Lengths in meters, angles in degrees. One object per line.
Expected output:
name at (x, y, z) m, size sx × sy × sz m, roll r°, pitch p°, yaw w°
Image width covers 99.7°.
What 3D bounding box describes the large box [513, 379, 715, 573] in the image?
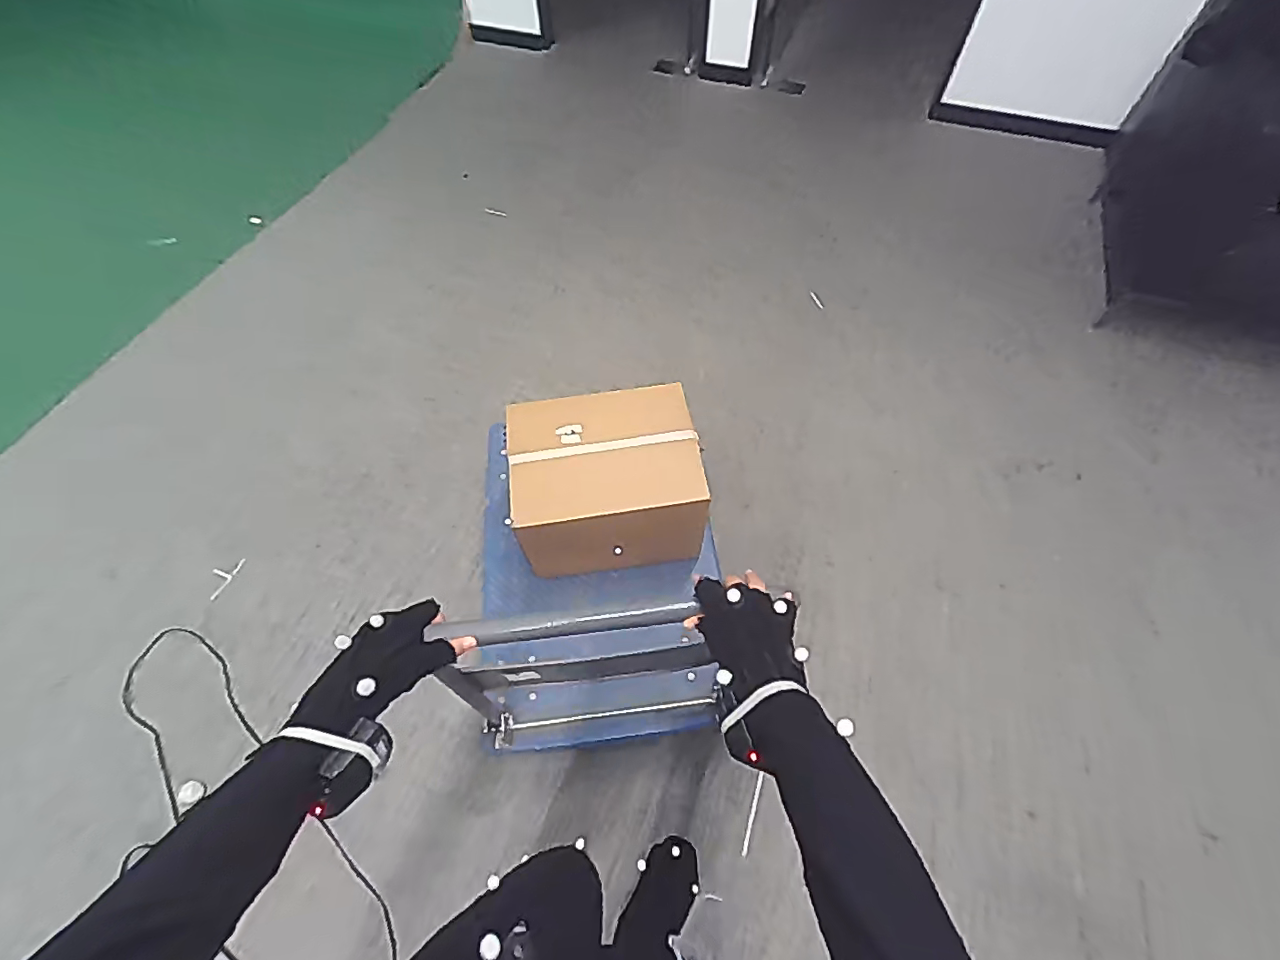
large box at (-0.062, 0.001, 1.291) m, size 0.408 × 0.320 × 0.320 m, roll -9°, pitch 60°, yaw -3°
